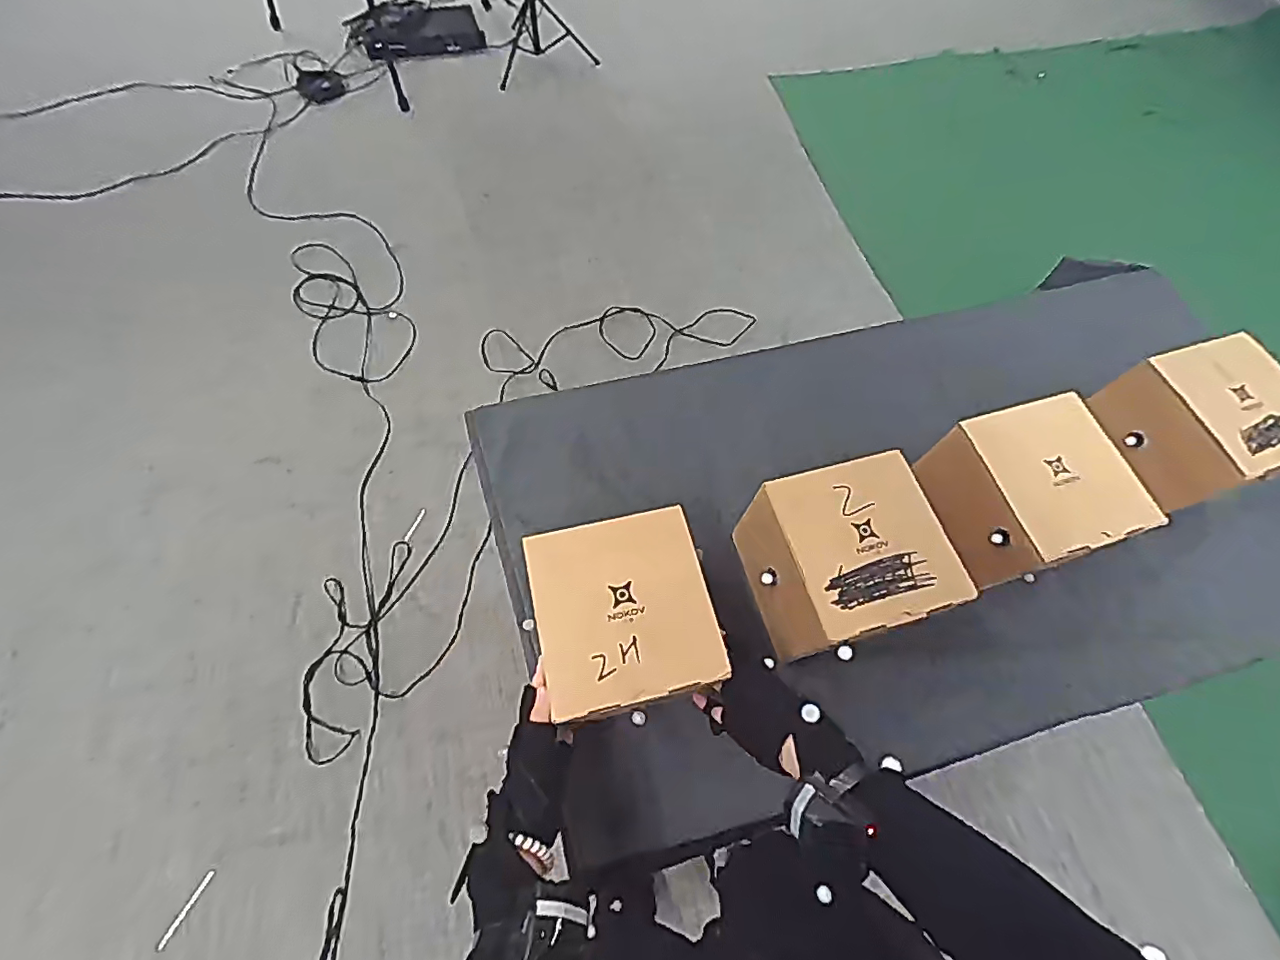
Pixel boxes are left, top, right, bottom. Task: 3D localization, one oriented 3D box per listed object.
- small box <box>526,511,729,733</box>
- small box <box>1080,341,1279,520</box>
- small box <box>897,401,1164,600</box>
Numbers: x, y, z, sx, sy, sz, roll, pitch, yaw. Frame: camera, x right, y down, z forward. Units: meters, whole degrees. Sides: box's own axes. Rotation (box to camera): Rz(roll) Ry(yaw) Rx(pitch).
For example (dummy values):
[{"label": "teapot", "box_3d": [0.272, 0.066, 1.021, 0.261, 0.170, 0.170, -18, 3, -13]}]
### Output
[{"label": "small box", "box_3d": [-0.022, 0.157, 0.581, 0.168, 0.176, 0.179, -11, 64, -8]}, {"label": "small box", "box_3d": [0.728, -0.053, 0.728, 0.168, 0.176, 0.179, -15, 66, -10]}, {"label": "small box", "box_3d": [0.462, 0.031, 0.676, 0.168, 0.176, 0.179, -14, 67, -10]}]
